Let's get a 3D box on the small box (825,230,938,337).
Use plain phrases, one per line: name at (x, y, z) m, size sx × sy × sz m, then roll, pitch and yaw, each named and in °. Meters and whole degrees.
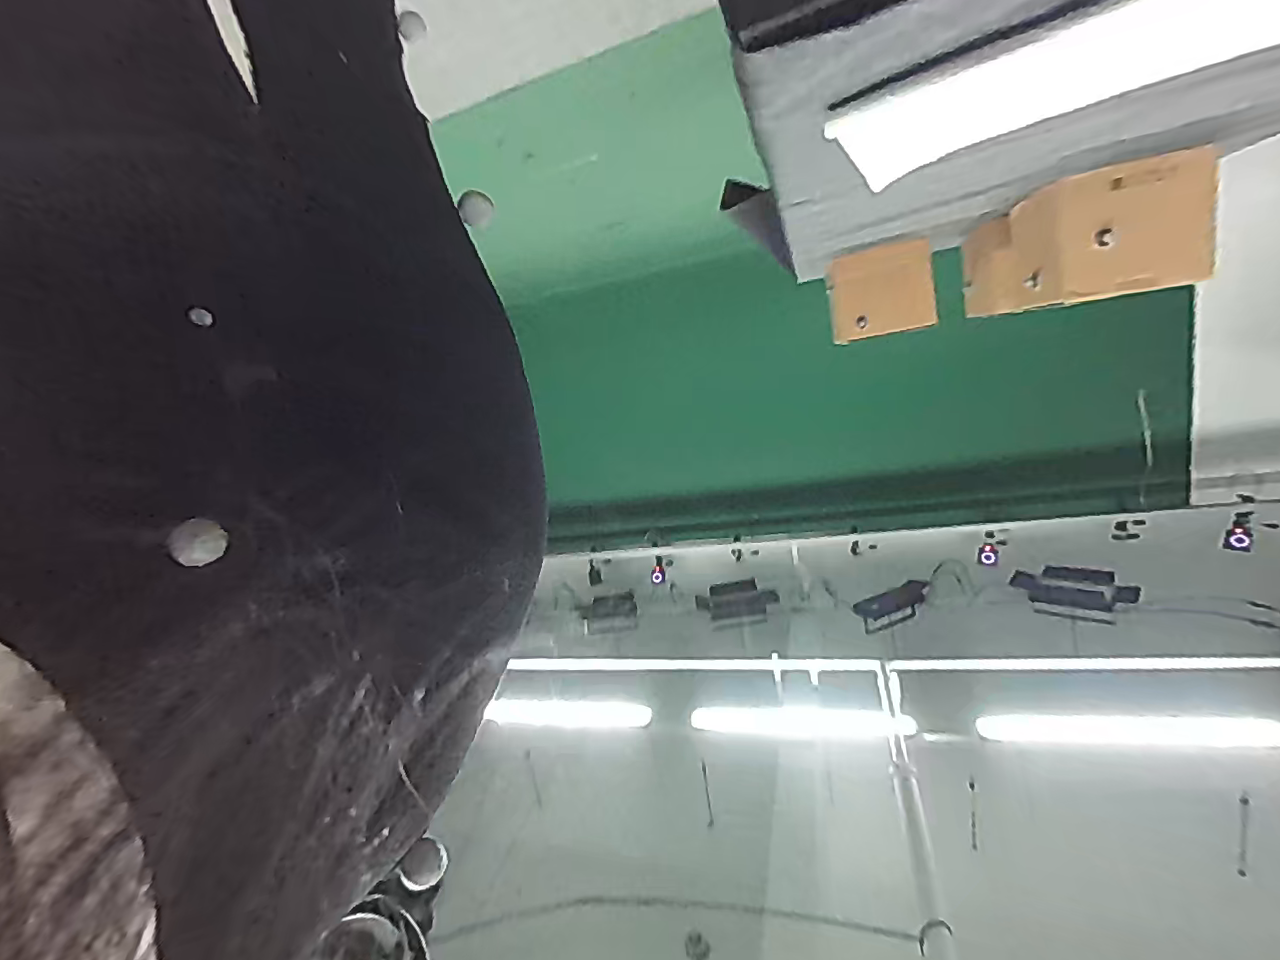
small box at (0.488, -0.397, 1.108) m, size 0.179 × 0.176 × 0.168 m, roll -8°, pitch -168°, yaw 16°
